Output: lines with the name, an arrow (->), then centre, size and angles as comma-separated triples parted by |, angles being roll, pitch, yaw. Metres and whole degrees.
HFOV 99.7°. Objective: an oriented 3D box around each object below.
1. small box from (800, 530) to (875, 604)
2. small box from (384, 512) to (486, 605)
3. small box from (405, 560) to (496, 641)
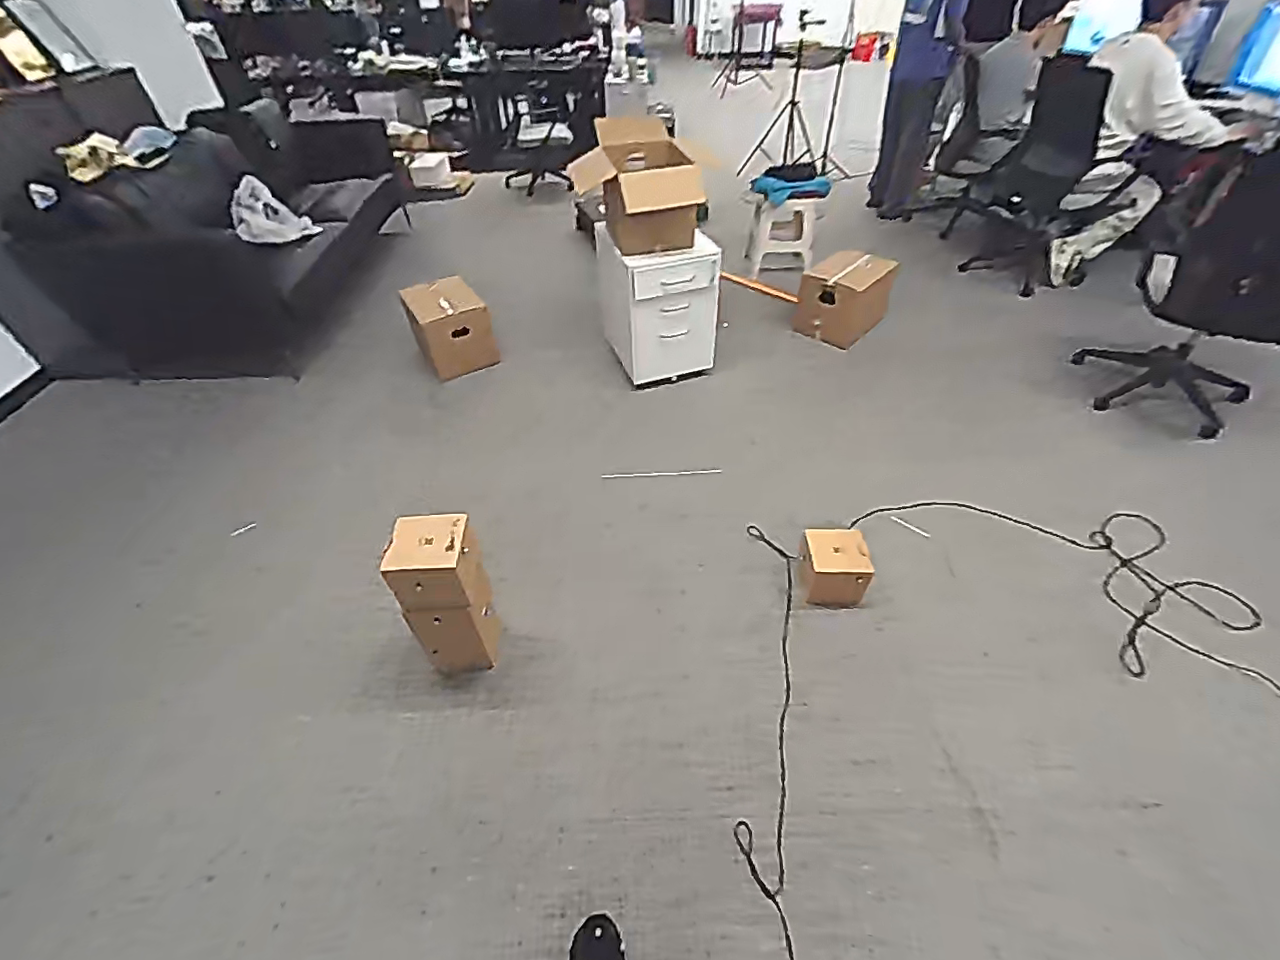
small box -> 0.606, 0.273, 1.690 | 0.179, 0.176, 0.168 | 0, 45, 1
small box -> -0.503, 0.198, 1.351 | 0.179, 0.176, 0.168 | -3, 45, 0
small box -> -0.504, 0.321, 1.460 | 0.179, 0.176, 0.168 | -2, 45, -1
